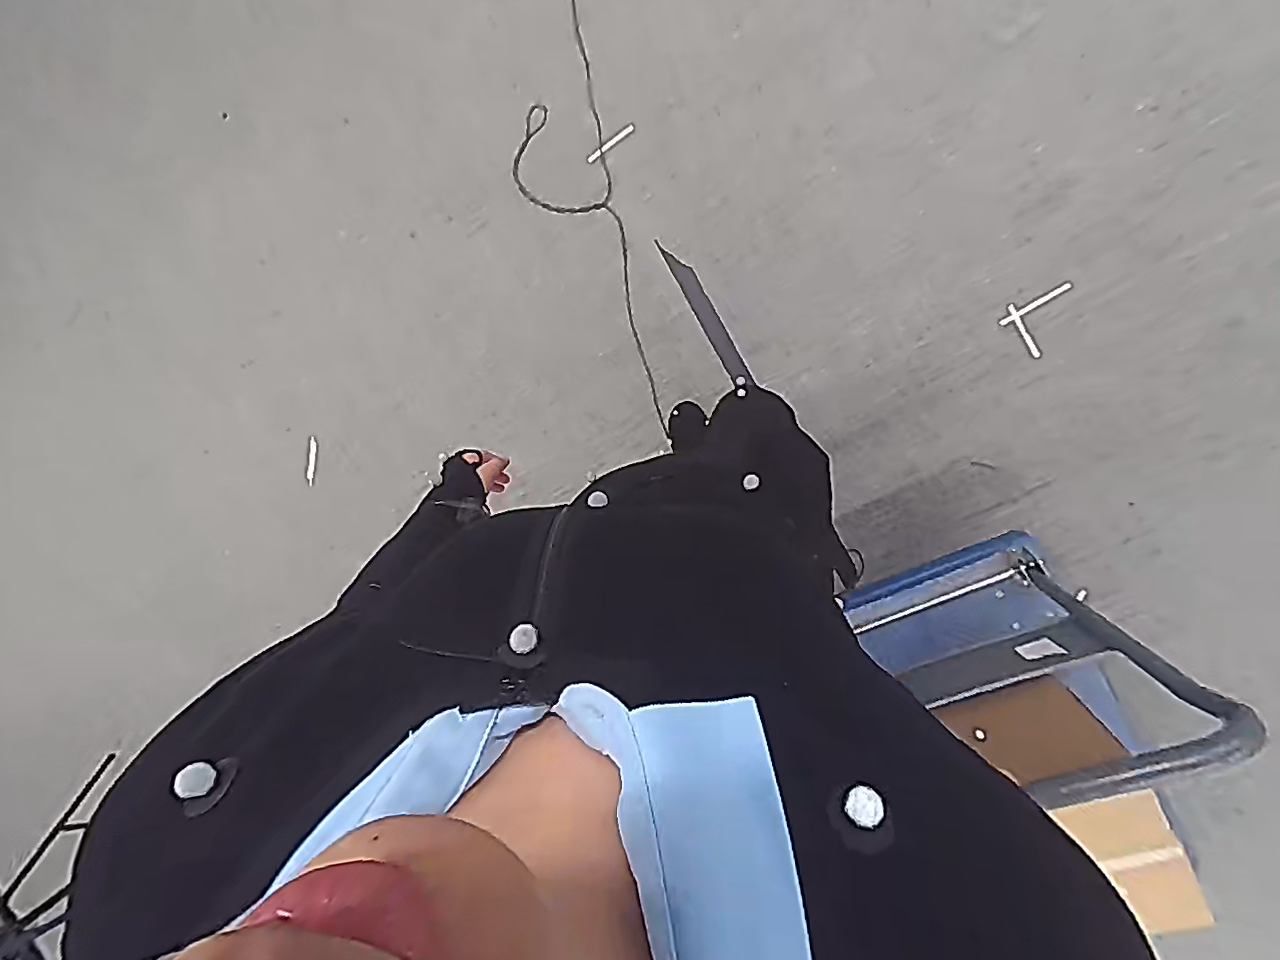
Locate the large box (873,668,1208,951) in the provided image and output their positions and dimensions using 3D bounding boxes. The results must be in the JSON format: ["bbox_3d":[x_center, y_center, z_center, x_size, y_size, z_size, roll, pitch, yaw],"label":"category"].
[{"bbox_3d":[0.762,0.651,1.108,0.408,0.320,0.320,-26,94,16],"label":"large box"}]
